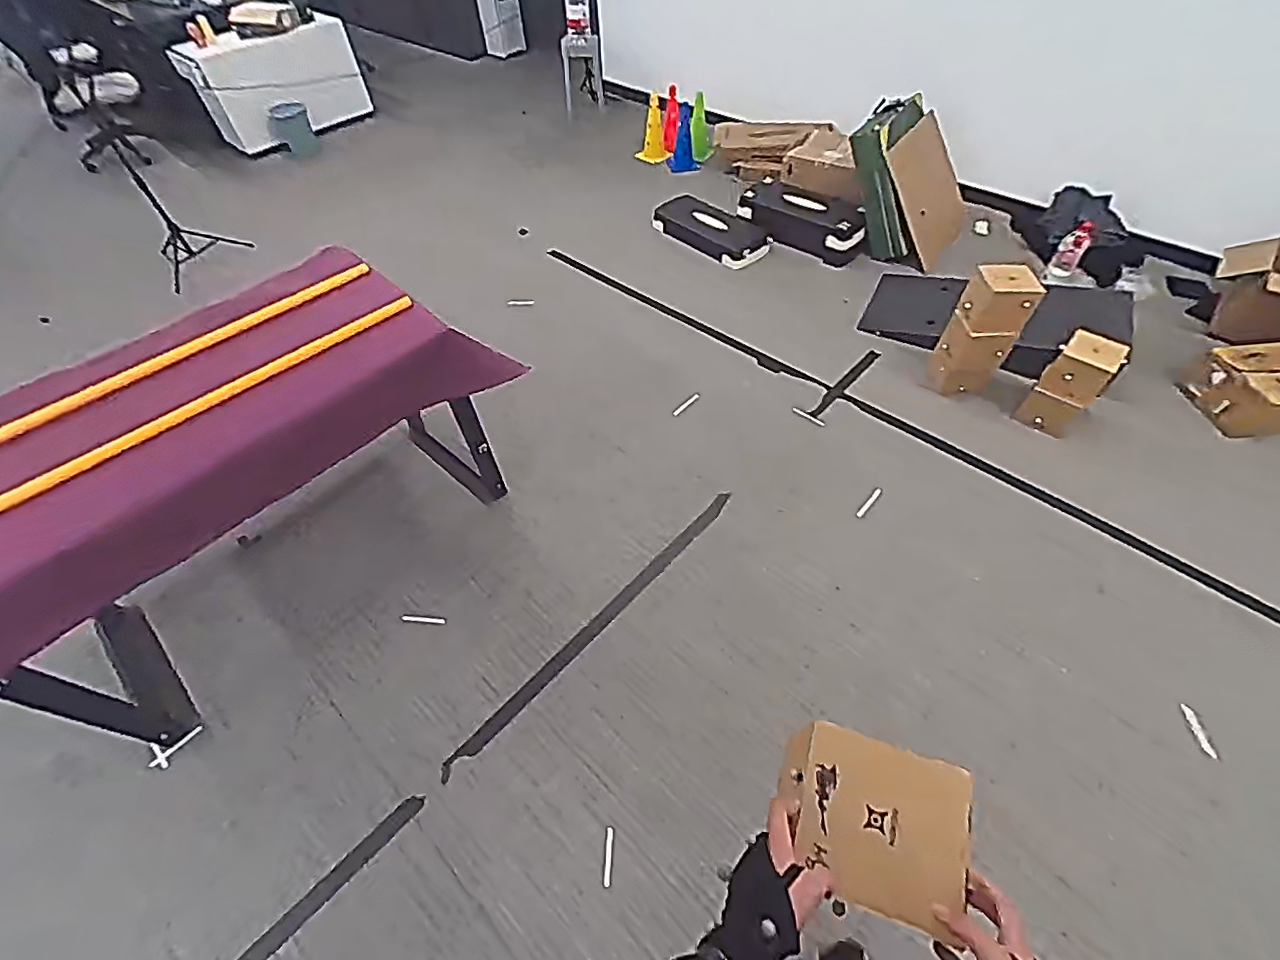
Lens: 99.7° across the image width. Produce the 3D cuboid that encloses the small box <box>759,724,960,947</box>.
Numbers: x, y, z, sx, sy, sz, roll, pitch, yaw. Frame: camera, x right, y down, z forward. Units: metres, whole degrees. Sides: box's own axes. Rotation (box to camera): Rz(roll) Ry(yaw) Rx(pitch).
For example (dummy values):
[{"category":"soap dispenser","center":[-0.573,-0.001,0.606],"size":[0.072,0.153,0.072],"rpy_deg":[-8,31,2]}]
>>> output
[{"category":"small box","center":[0.258,0.418,0.661],"size":[0.179,0.176,0.168],"rpy_deg":[15,61,11]}]
